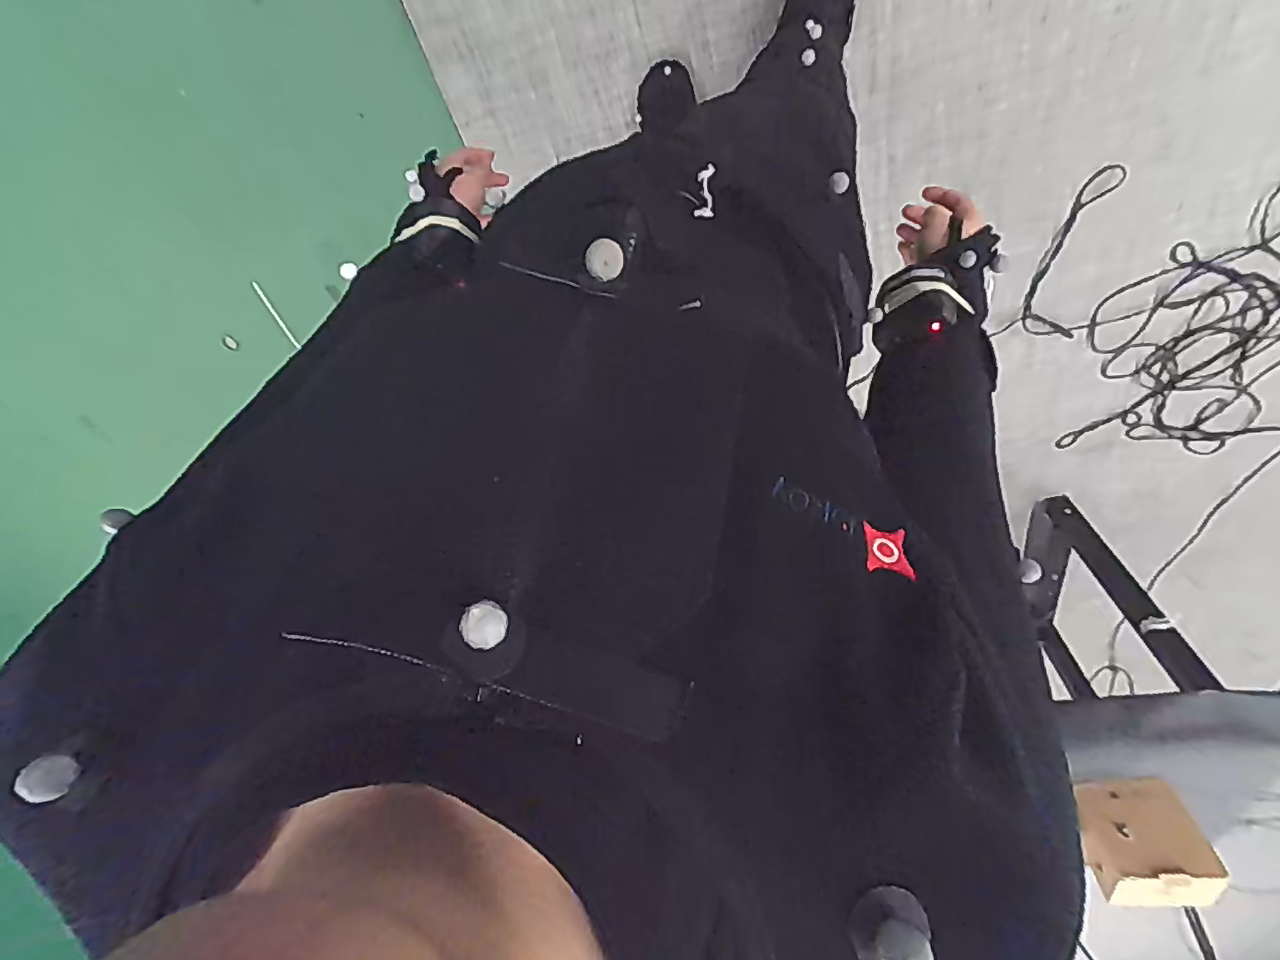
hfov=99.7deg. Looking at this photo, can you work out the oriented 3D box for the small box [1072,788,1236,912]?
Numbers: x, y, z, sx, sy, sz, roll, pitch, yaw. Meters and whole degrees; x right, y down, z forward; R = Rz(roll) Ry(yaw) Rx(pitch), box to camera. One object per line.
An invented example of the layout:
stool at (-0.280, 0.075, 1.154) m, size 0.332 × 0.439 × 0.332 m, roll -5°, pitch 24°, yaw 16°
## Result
small box at (0.990, 0.724, 1.062) m, size 0.168 × 0.176 × 0.179 m, roll -15°, pitch 128°, yaw 18°
